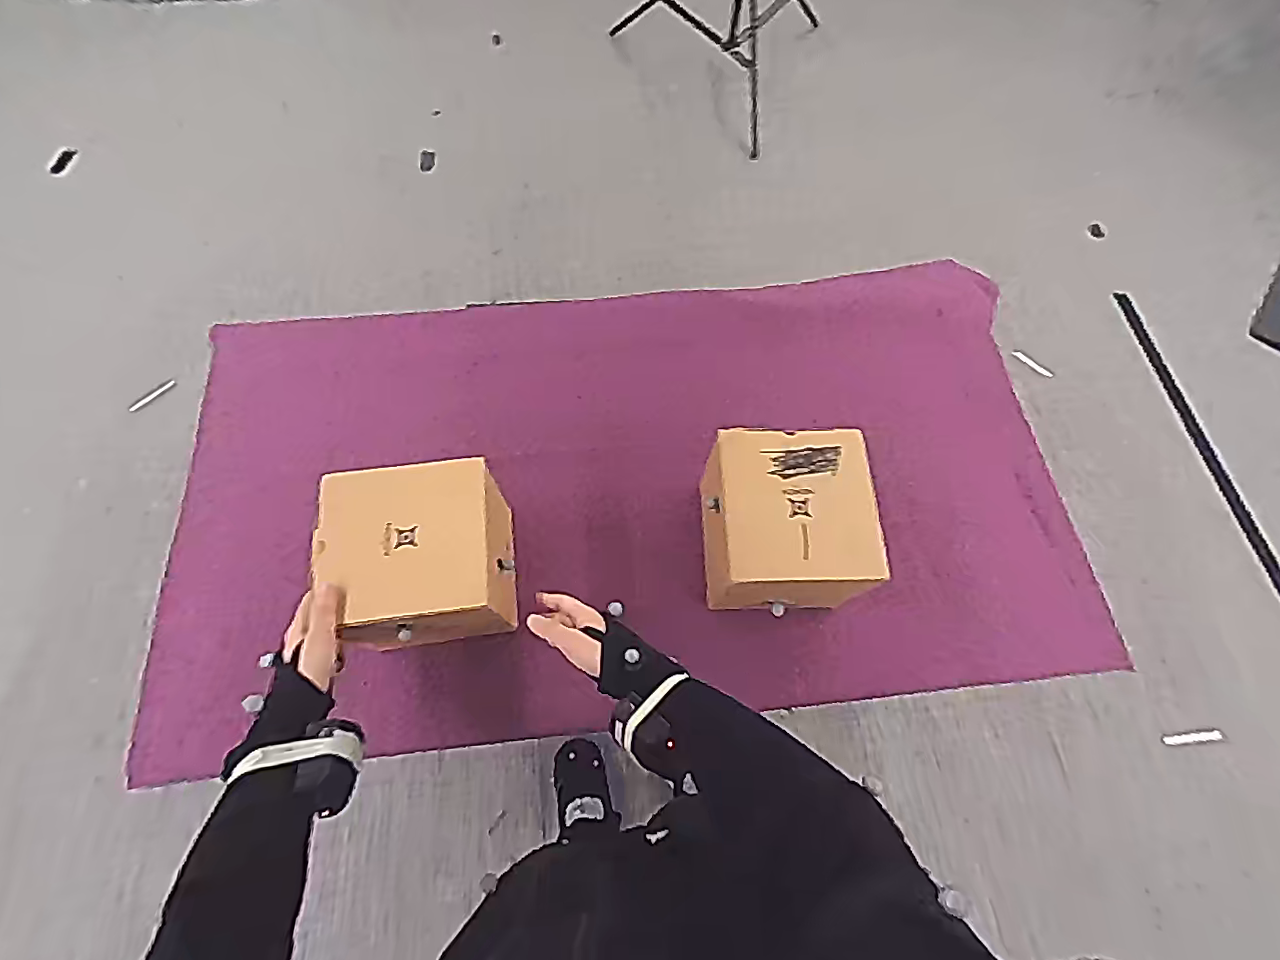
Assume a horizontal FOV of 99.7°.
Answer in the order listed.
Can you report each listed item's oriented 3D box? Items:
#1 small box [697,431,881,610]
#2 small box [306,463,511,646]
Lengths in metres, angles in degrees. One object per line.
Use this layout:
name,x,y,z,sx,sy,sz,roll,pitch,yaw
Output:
small box,0.163,0.056,0.659,0.168,0.176,0.179,-1,68,-2
small box,-0.251,0.094,0.633,0.179,0.176,0.168,-7,68,-4
